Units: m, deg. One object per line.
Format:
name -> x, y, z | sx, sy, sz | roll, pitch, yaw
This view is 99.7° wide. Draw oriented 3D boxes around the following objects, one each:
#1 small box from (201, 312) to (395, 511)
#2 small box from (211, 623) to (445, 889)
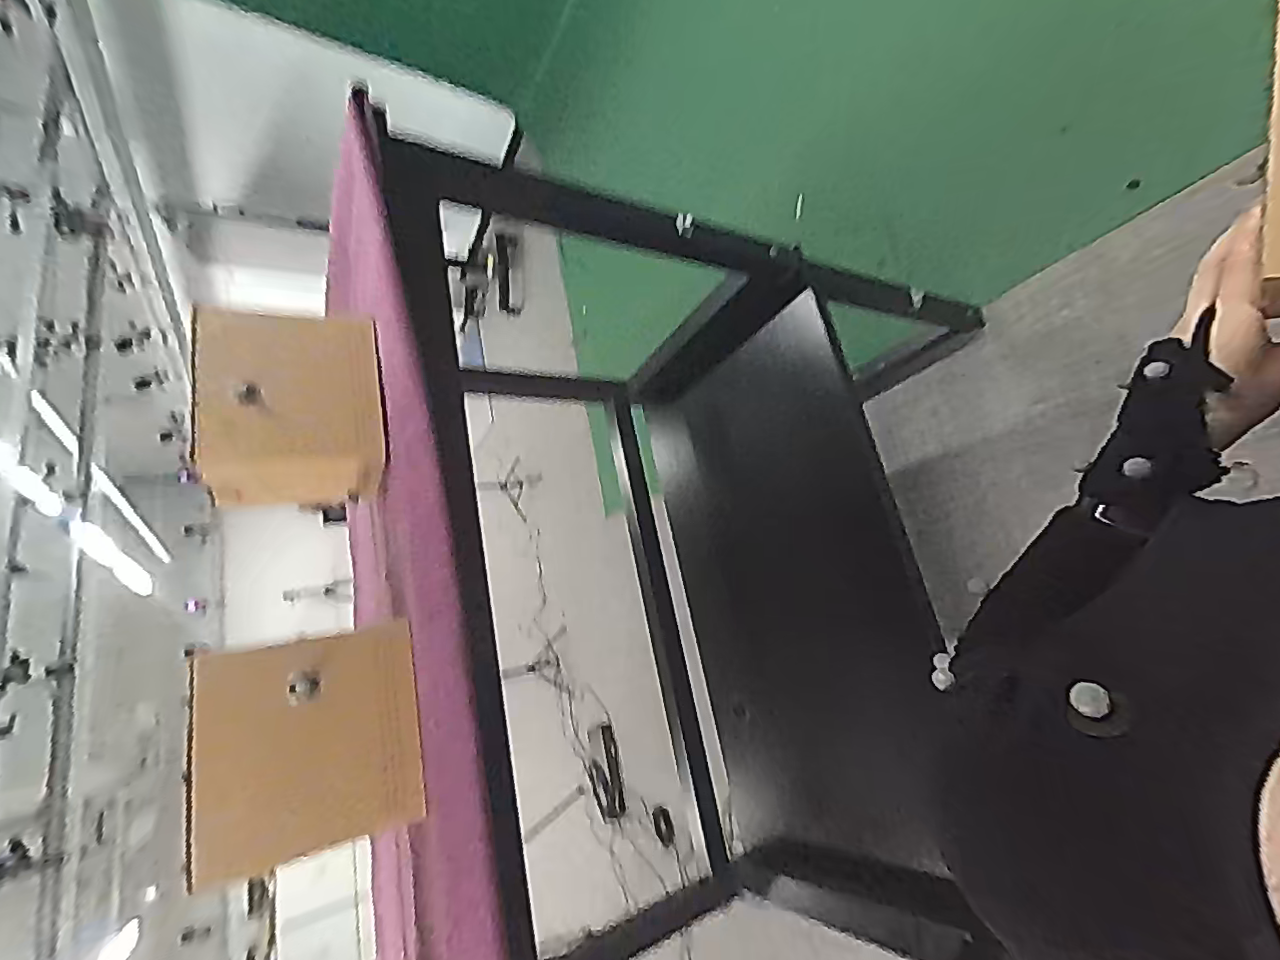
small box -> -0.391, -0.074, 0.636 | 0.168, 0.176, 0.179 | -34, 64, 55
small box -> -0.300, 0.244, 0.526 | 0.168, 0.176, 0.179 | -37, 63, 53
